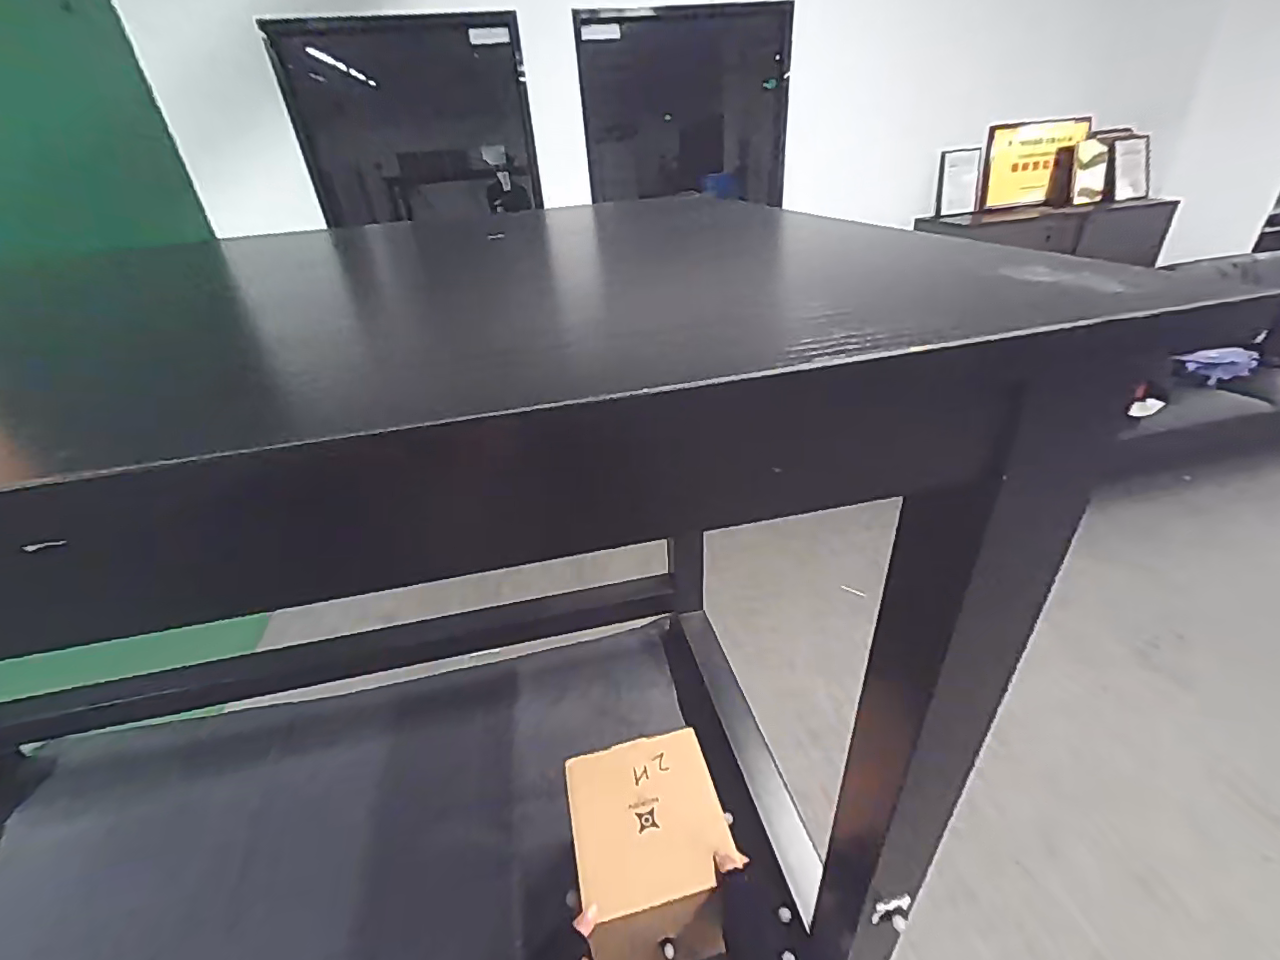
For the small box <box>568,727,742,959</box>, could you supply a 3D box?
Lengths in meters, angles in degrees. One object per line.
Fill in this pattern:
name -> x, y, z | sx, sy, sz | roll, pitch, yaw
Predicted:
small box -> 0.014, 0.438, 0.643 | 0.168, 0.176, 0.179 | -10, 31, -9
